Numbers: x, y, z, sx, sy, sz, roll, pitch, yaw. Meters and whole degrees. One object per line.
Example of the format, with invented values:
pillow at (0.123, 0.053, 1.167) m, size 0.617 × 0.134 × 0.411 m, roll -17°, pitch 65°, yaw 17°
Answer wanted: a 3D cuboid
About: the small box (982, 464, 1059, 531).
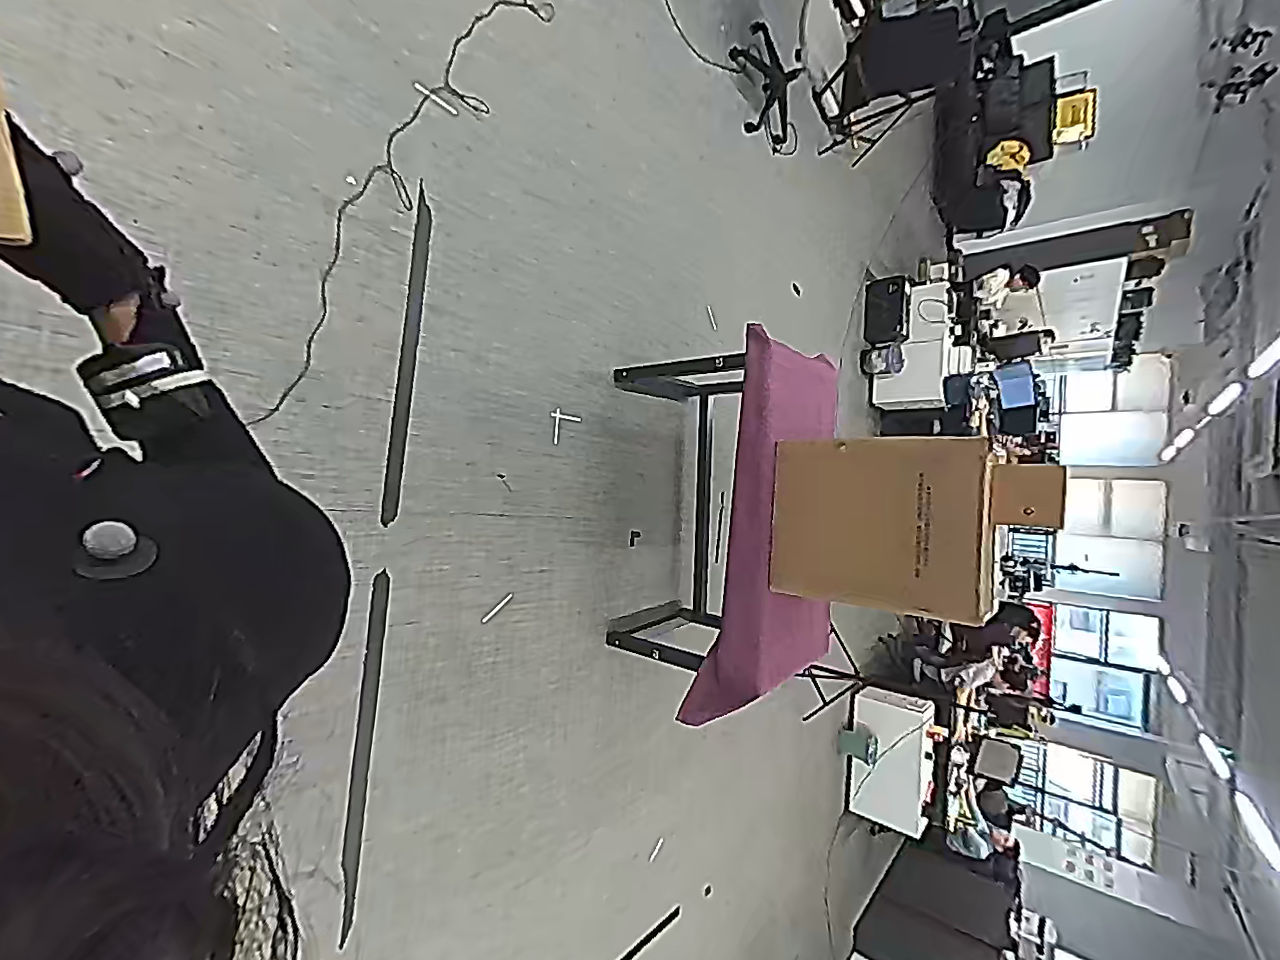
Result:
small box at (1.092, 0.049, 1.552) m, size 0.168 × 0.176 × 0.179 m, roll 4°, pitch 88°, yaw -52°
